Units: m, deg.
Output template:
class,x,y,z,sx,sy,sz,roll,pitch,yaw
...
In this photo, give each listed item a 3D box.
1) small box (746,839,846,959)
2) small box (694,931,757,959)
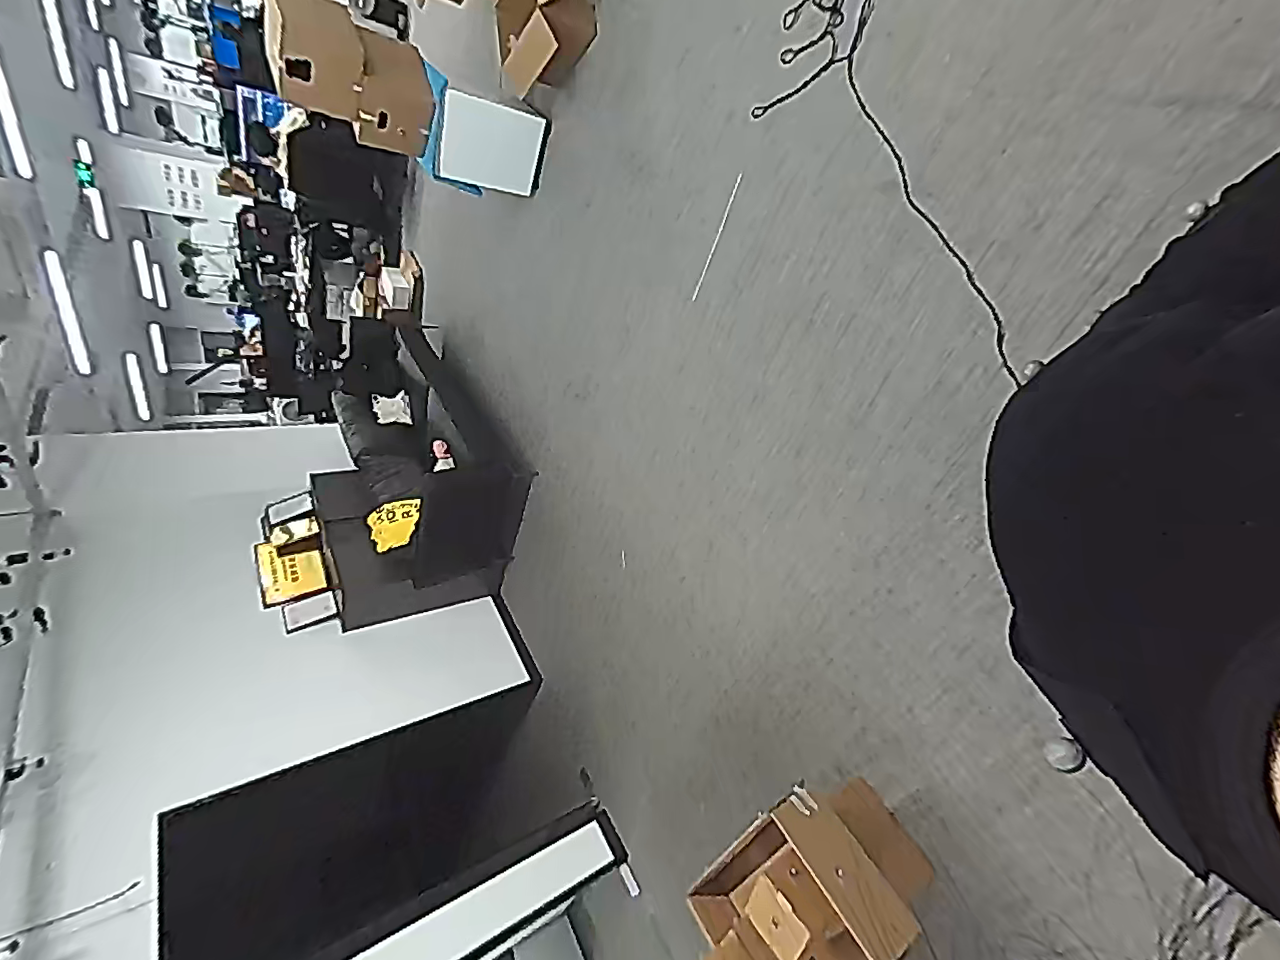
class,x,y,z,sx,sy,sz,roll,pitch,yaw
small box,0.416,1.105,1.430,0.168,0.176,0.179,37,124,45
small box,0.230,1.360,1.445,0.179,0.176,0.168,44,128,38
